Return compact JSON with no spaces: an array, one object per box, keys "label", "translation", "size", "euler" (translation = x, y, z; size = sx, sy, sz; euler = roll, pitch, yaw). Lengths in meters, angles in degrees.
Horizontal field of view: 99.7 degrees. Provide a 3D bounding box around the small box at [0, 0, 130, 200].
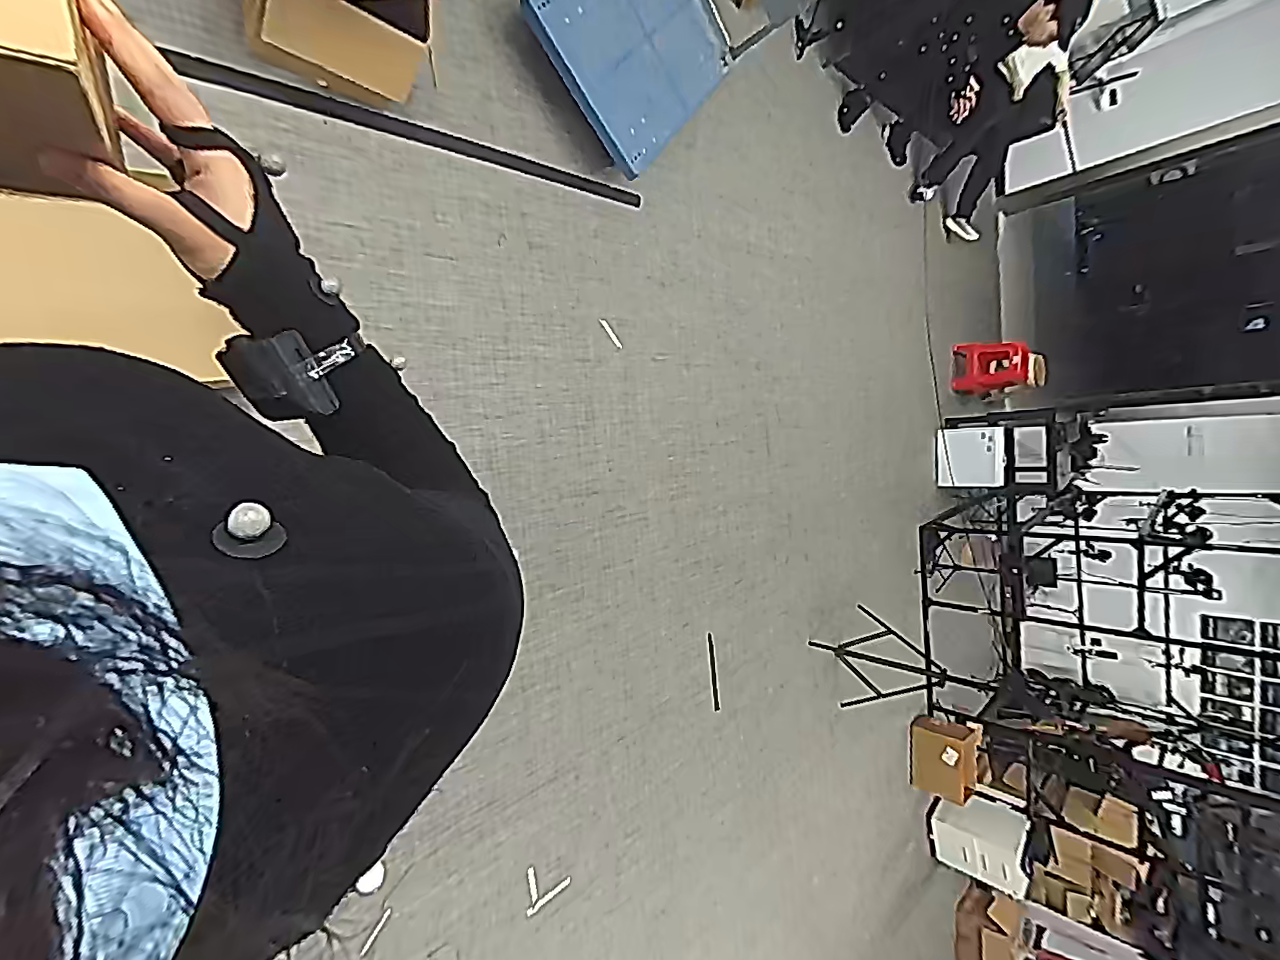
[{"label":"small box","translation":[-0.347,-0.250,0.229],"size":[0.168,0.176,0.179],"euler":[-10,100,-38]}]
